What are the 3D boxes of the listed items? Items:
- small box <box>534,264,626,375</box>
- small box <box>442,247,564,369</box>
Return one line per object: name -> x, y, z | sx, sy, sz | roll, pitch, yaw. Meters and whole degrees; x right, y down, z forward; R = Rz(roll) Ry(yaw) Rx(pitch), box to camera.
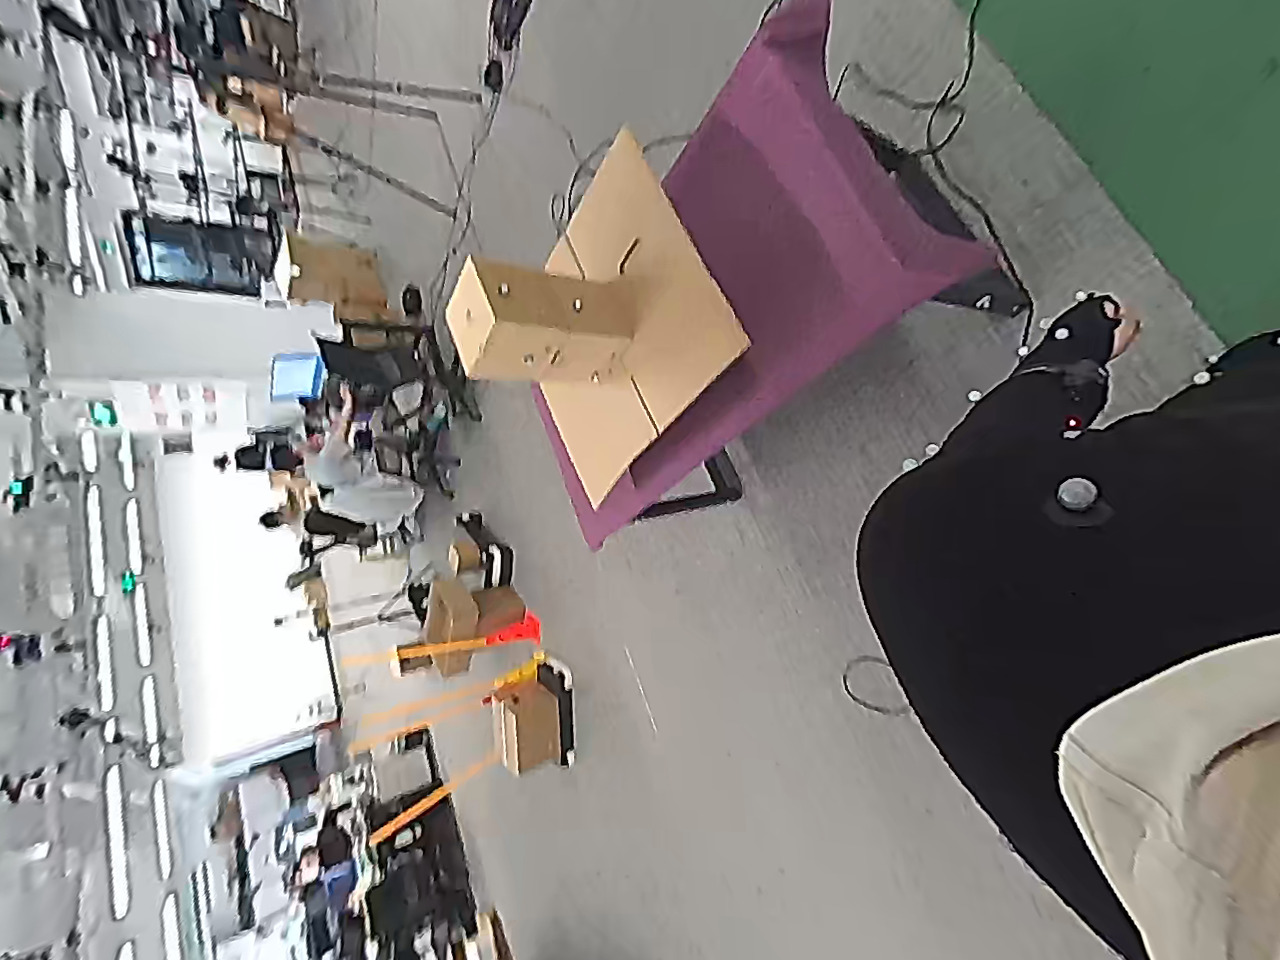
small box -> -0.157, -0.356, 1.226 | 0.168, 0.176, 0.179 | -42, 64, 43
small box -> -0.283, -0.346, 1.124 | 0.168, 0.176, 0.179 | -43, 65, 42
